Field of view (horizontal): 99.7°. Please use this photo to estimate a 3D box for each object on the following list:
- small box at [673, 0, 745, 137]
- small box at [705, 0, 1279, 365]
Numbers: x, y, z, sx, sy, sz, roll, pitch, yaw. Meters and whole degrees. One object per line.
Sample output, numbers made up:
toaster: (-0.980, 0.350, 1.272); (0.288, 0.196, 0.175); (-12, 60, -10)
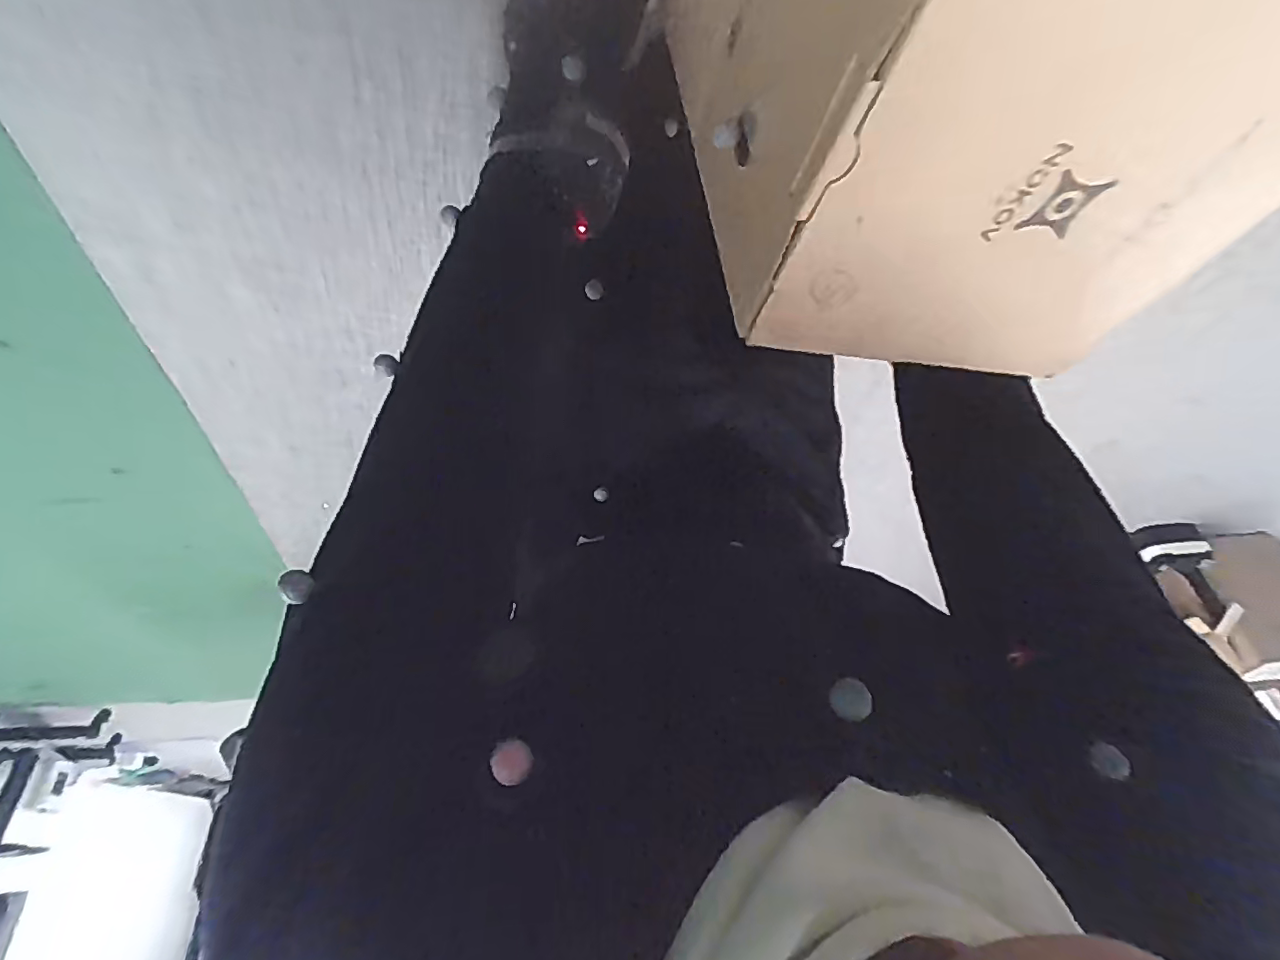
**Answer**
small box: (0.120, -0.319, 0.313); (0.168, 0.176, 0.179); (2, 149, -12)
small box: (0.140, -0.175, 0.239); (0.179, 0.176, 0.168); (1, 150, -13)
